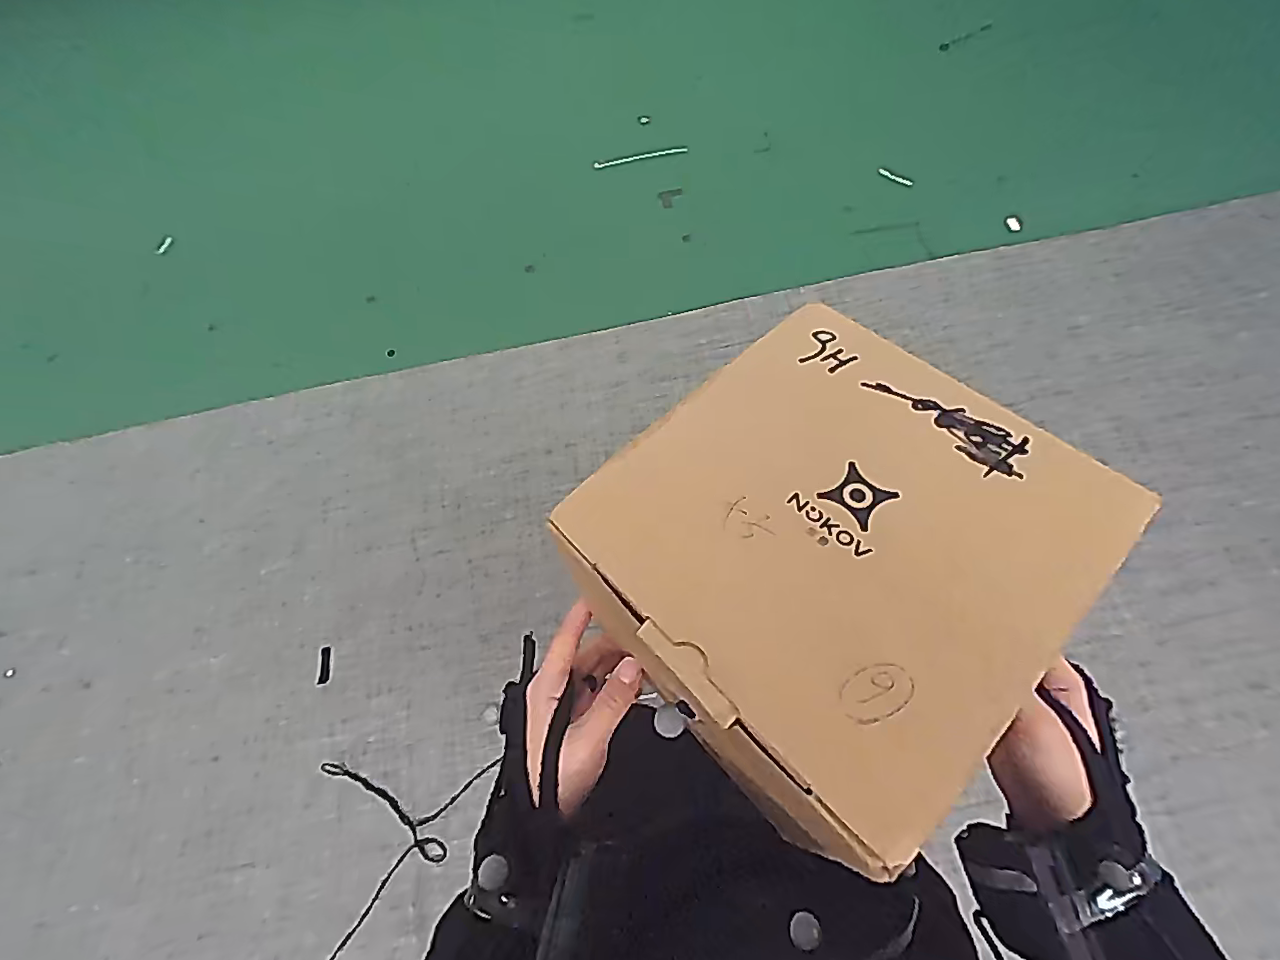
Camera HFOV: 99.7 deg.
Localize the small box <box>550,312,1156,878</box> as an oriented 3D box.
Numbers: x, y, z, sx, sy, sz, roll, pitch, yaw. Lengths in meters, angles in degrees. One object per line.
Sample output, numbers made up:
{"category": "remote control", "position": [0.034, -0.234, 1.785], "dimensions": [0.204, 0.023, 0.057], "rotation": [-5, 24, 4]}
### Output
{"category": "small box", "position": [0.086, 0.057, 0.281], "dimensions": [0.179, 0.176, 0.168], "rotation": [-40, 63, -17]}
